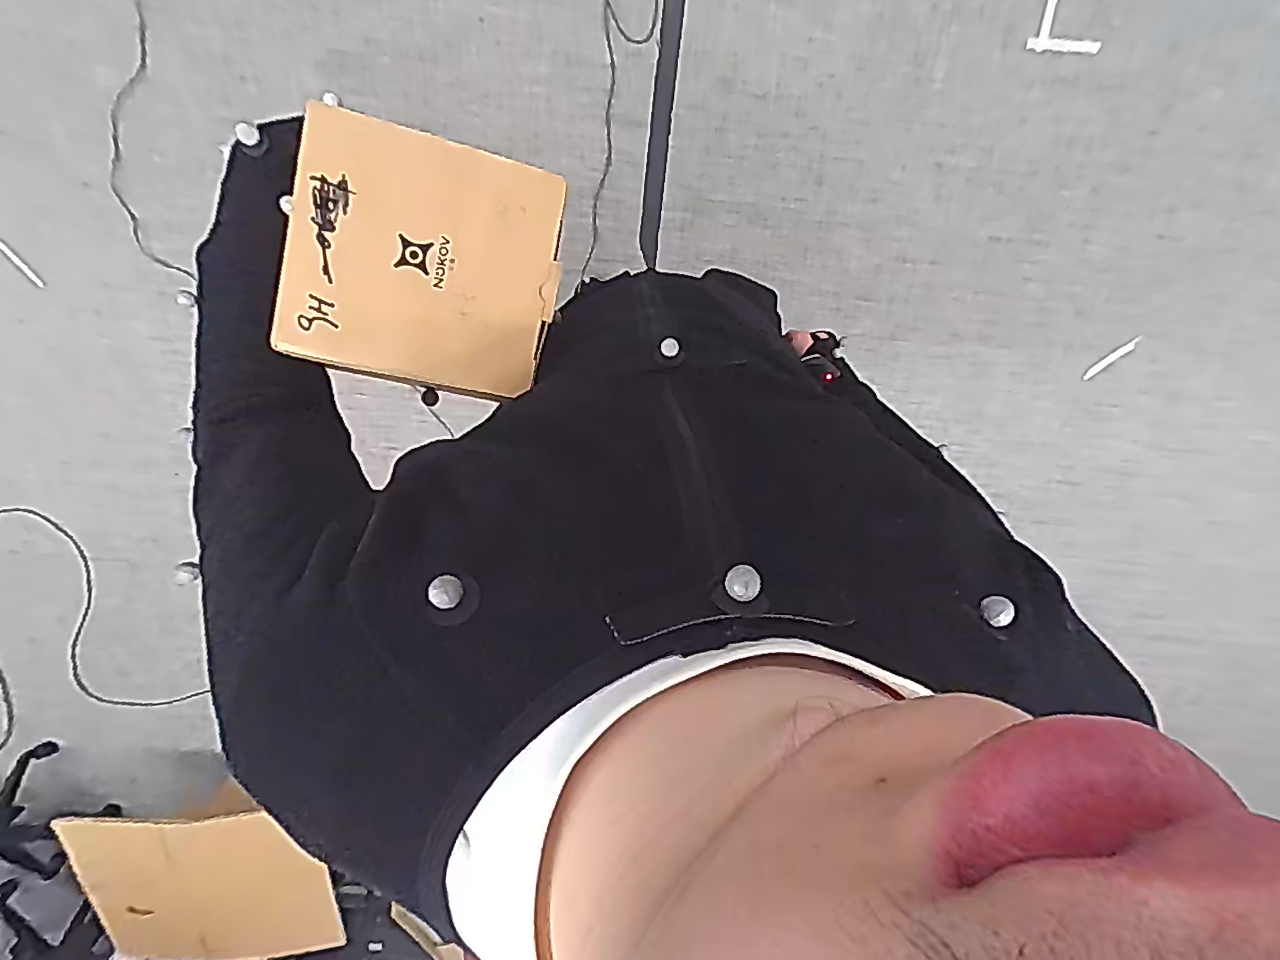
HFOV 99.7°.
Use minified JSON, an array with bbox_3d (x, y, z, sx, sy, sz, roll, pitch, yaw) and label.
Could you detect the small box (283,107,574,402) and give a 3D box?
[{"bbox_3d":[-0.166,-0.164,0.463,0.179,0.176,0.168,10,93,-15],"label":"small box"}]
